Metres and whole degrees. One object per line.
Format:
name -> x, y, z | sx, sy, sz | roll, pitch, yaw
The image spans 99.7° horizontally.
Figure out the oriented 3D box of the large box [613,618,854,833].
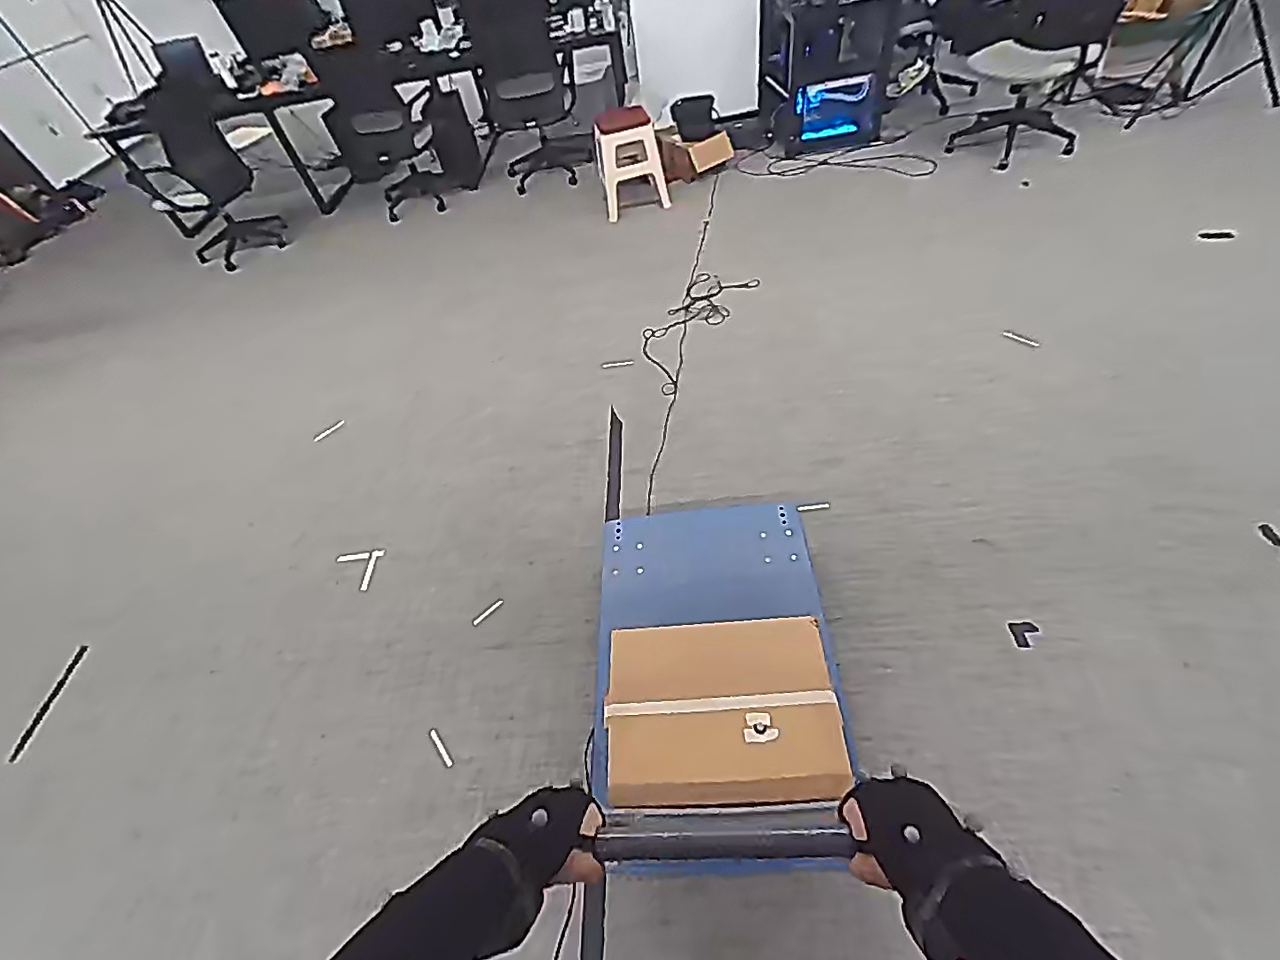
large box -> 0.167, 0.506, 1.098 | 0.408, 0.320, 0.320 | -6, 51, 5
